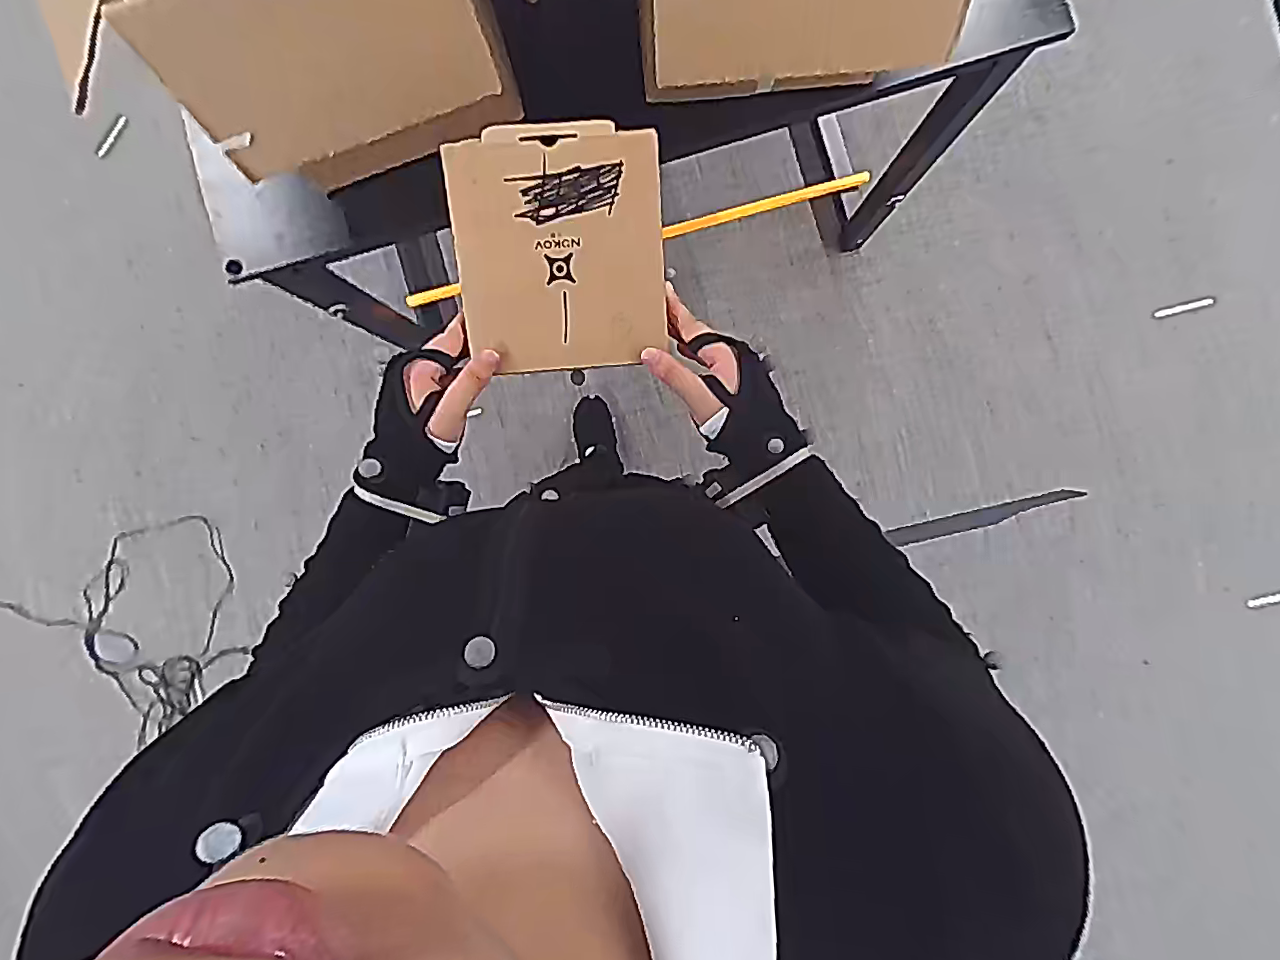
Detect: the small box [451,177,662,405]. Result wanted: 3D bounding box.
[{"bbox_3d":[-0.068,-0.169,0.523,0.168,0.176,0.179,-3,103,-1],"label":"small box"}]
